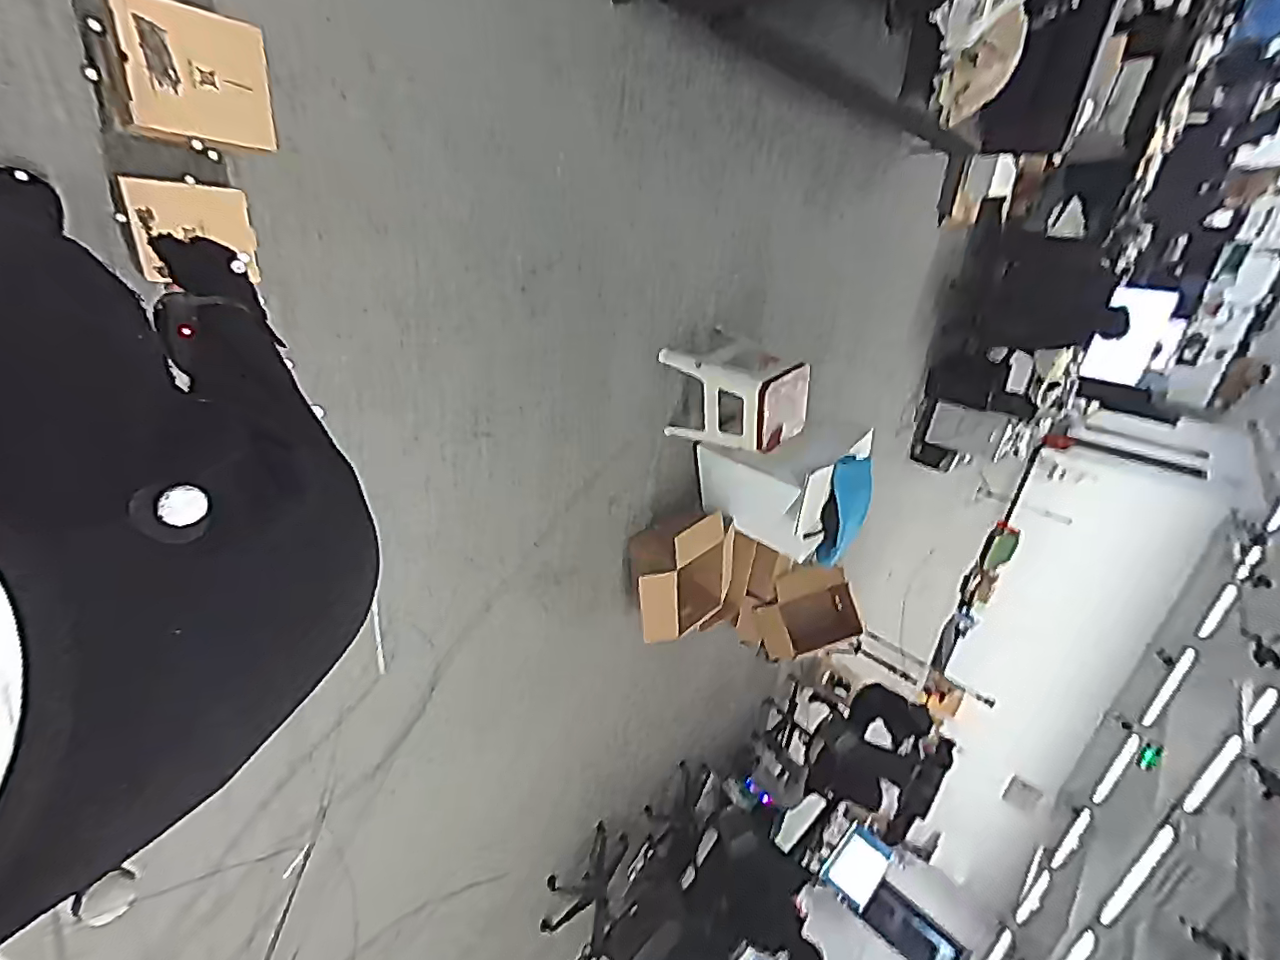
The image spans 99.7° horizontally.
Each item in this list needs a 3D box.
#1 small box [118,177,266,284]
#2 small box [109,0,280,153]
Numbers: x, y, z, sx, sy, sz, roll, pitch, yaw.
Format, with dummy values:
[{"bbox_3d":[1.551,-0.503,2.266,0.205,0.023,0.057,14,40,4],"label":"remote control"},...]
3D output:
[{"bbox_3d":[-0.846,-0.471,1.025,0.179,0.176,0.168,-17,123,-41],"label":"small box"},{"bbox_3d":[-0.695,-0.622,0.845,0.179,0.176,0.168,-16,122,-42],"label":"small box"}]
